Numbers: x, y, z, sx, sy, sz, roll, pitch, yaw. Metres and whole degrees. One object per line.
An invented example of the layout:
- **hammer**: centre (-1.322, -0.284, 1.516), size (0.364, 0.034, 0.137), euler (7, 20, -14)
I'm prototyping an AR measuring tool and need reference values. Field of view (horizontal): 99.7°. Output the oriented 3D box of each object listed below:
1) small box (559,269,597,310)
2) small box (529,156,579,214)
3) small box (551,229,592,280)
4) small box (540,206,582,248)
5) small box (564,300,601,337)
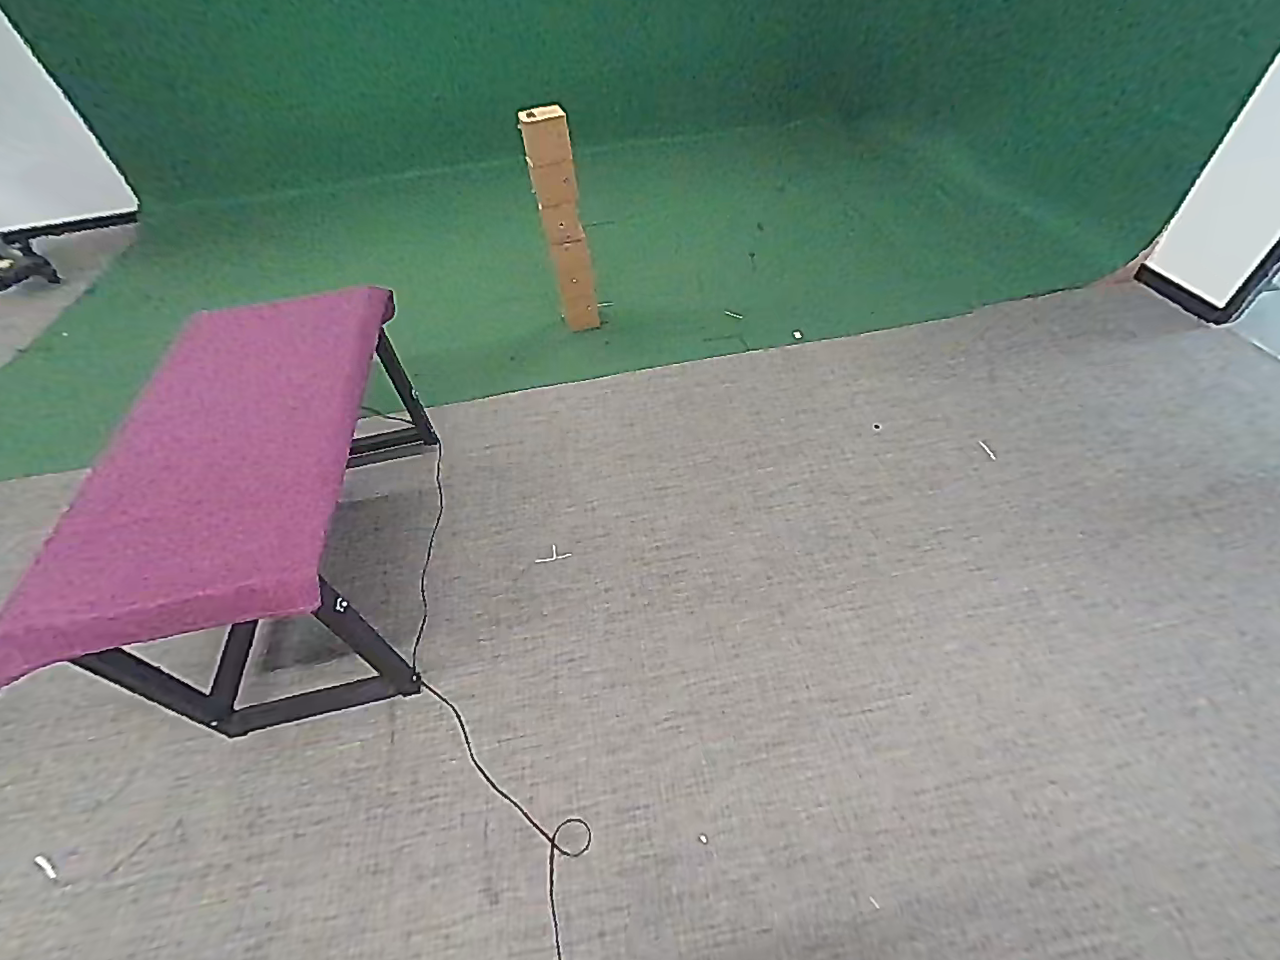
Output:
- **small box**: centre (-0.325, -1.007, 2.800), size (0.179, 0.176, 0.168), euler (-13, 49, -4)
- **small box**: centre (-0.382, -1.325, 2.432), size (0.179, 0.176, 0.168), euler (-18, 49, -8)
- **small box**: centre (-0.344, -1.112, 2.676), size (0.179, 0.176, 0.168), euler (-14, 49, -6)
- **small box**: centre (-0.371, -1.208, 2.546), size (0.168, 0.176, 0.179), euler (-11, 49, -3)
- **small box**: centre (-0.313, -0.899, 2.920), size (0.179, 0.176, 0.168), euler (-13, 48, -6)
